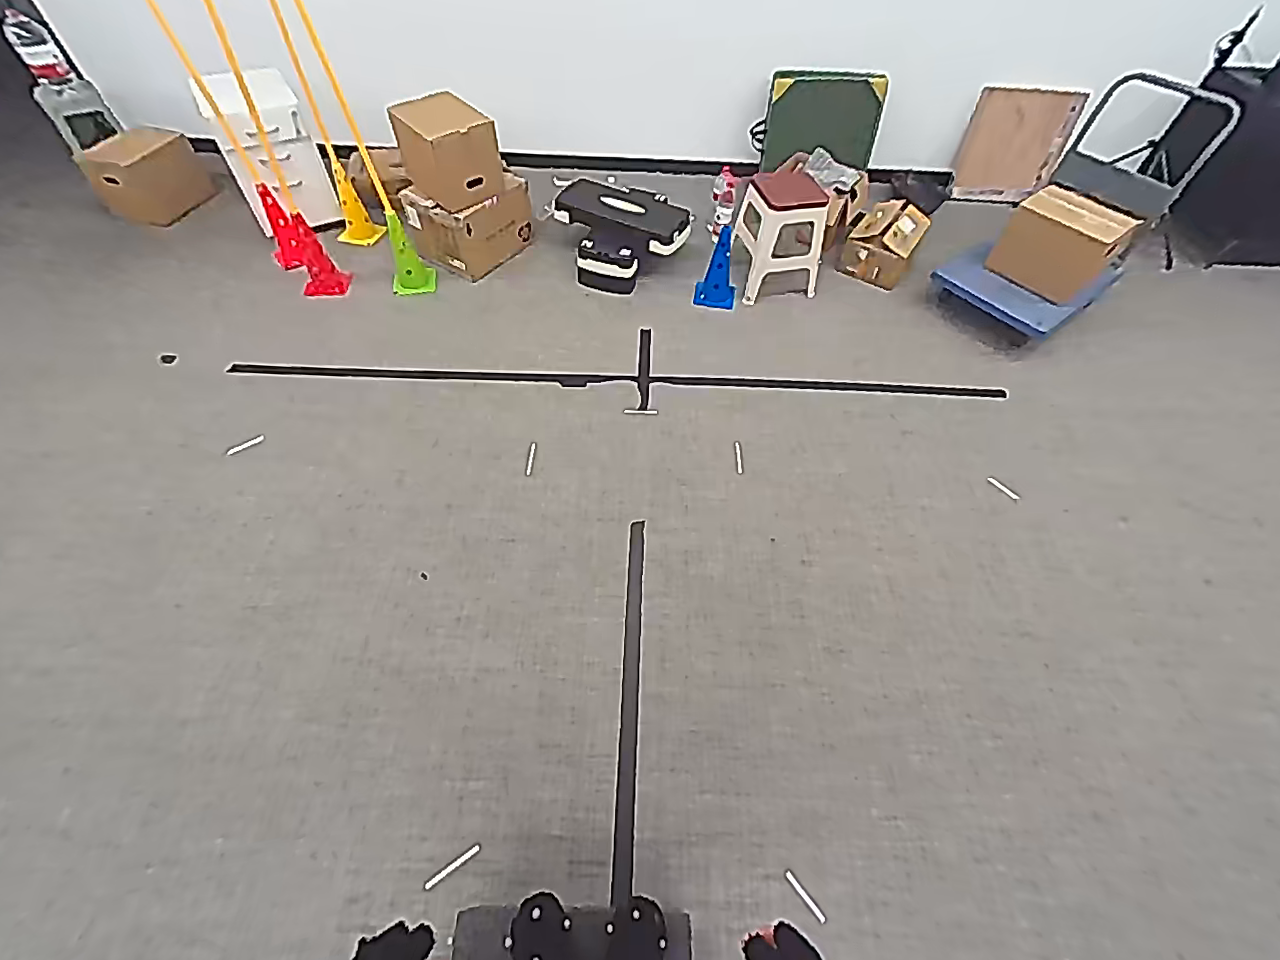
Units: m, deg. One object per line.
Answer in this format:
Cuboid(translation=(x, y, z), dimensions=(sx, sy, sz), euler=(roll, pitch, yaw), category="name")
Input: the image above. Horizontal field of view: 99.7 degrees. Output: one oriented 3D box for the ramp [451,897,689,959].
Cuboid(translation=(-0.149, 1.340, 0.932), dimensions=(0.509, 0.206, 0.991), euler=(1, 54, -3), category="ramp")
